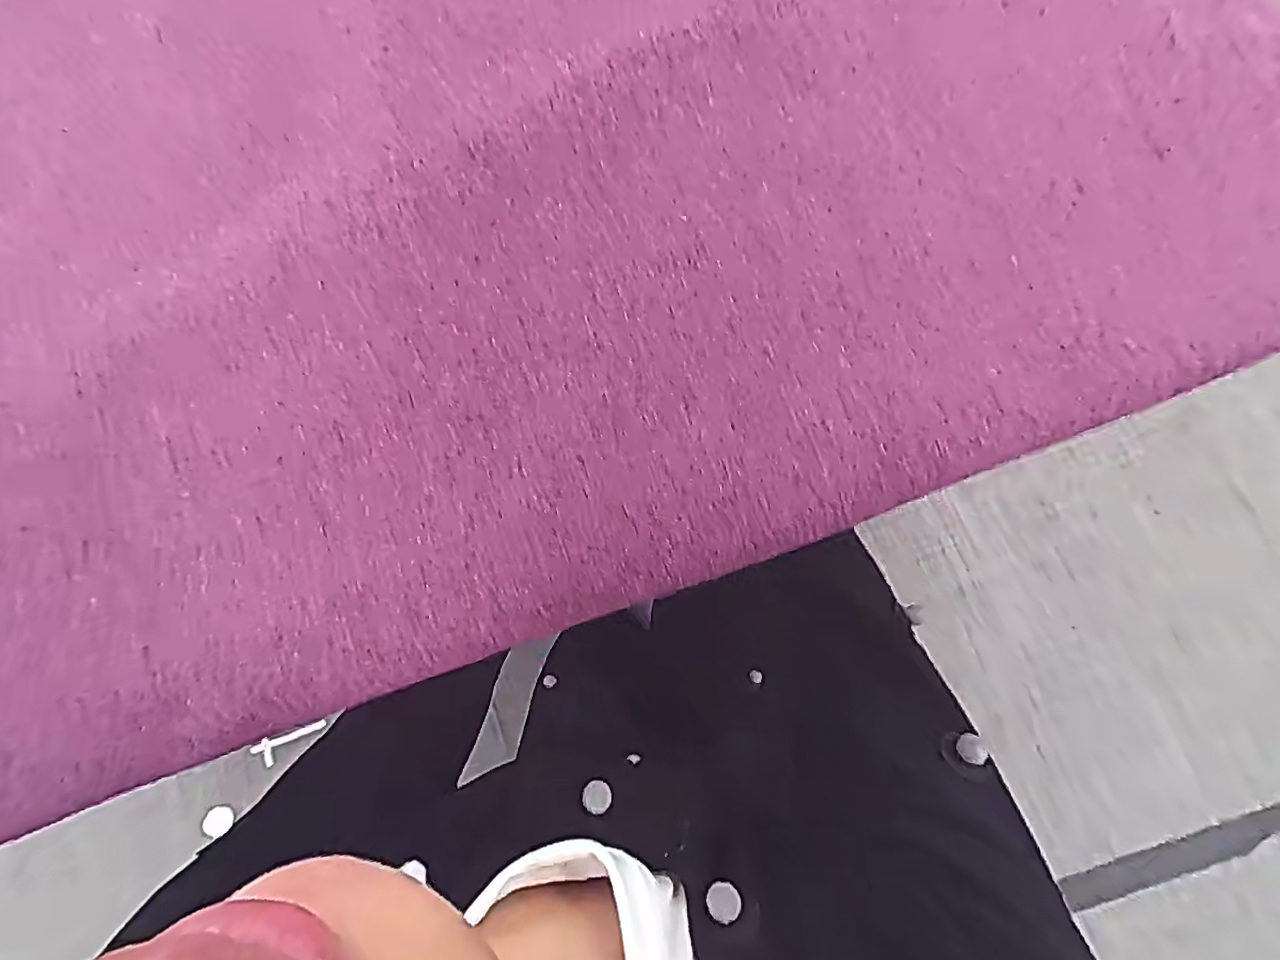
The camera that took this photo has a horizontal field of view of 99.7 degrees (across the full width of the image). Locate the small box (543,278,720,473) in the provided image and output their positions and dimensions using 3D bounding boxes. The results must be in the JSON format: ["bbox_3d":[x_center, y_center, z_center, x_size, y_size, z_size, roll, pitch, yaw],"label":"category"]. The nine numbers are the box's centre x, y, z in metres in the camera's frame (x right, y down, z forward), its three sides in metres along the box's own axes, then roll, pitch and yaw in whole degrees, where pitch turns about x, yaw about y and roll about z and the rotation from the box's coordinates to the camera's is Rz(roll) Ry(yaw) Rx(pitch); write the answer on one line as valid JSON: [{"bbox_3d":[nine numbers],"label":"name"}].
[{"bbox_3d":[-0.003,-0.126,0.722,0.168,0.176,0.179,-24,79,8],"label":"small box"}]
